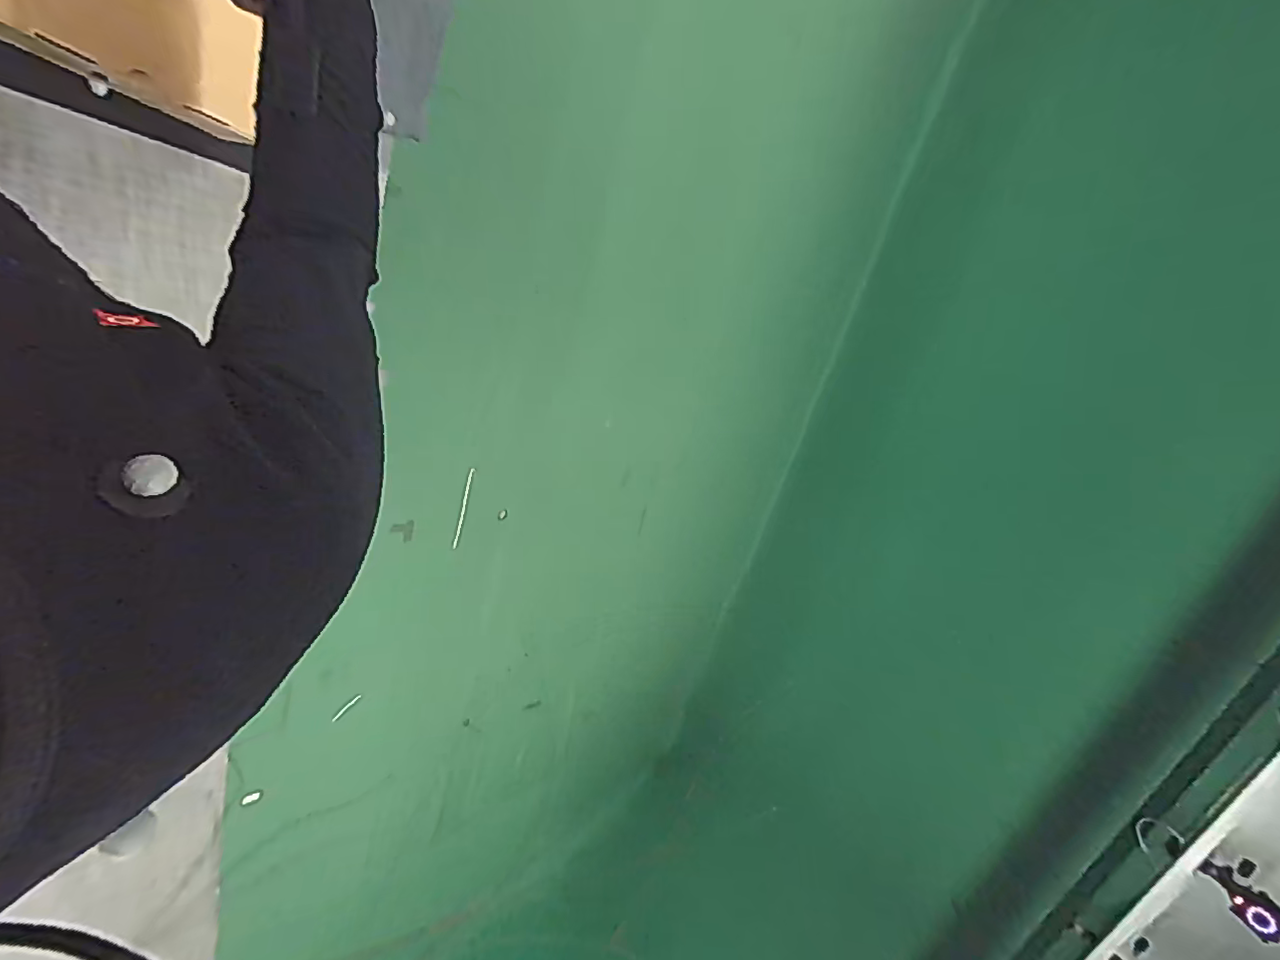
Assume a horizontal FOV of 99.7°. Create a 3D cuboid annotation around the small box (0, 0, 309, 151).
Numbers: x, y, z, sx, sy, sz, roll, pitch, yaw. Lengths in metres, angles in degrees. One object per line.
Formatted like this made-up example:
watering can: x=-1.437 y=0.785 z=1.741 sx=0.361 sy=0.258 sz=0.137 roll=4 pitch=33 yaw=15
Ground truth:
small box: x=-0.378 y=-0.391 z=0.412 sx=0.168 sy=0.176 sz=0.179 roll=6 pitch=112 yaw=-52
